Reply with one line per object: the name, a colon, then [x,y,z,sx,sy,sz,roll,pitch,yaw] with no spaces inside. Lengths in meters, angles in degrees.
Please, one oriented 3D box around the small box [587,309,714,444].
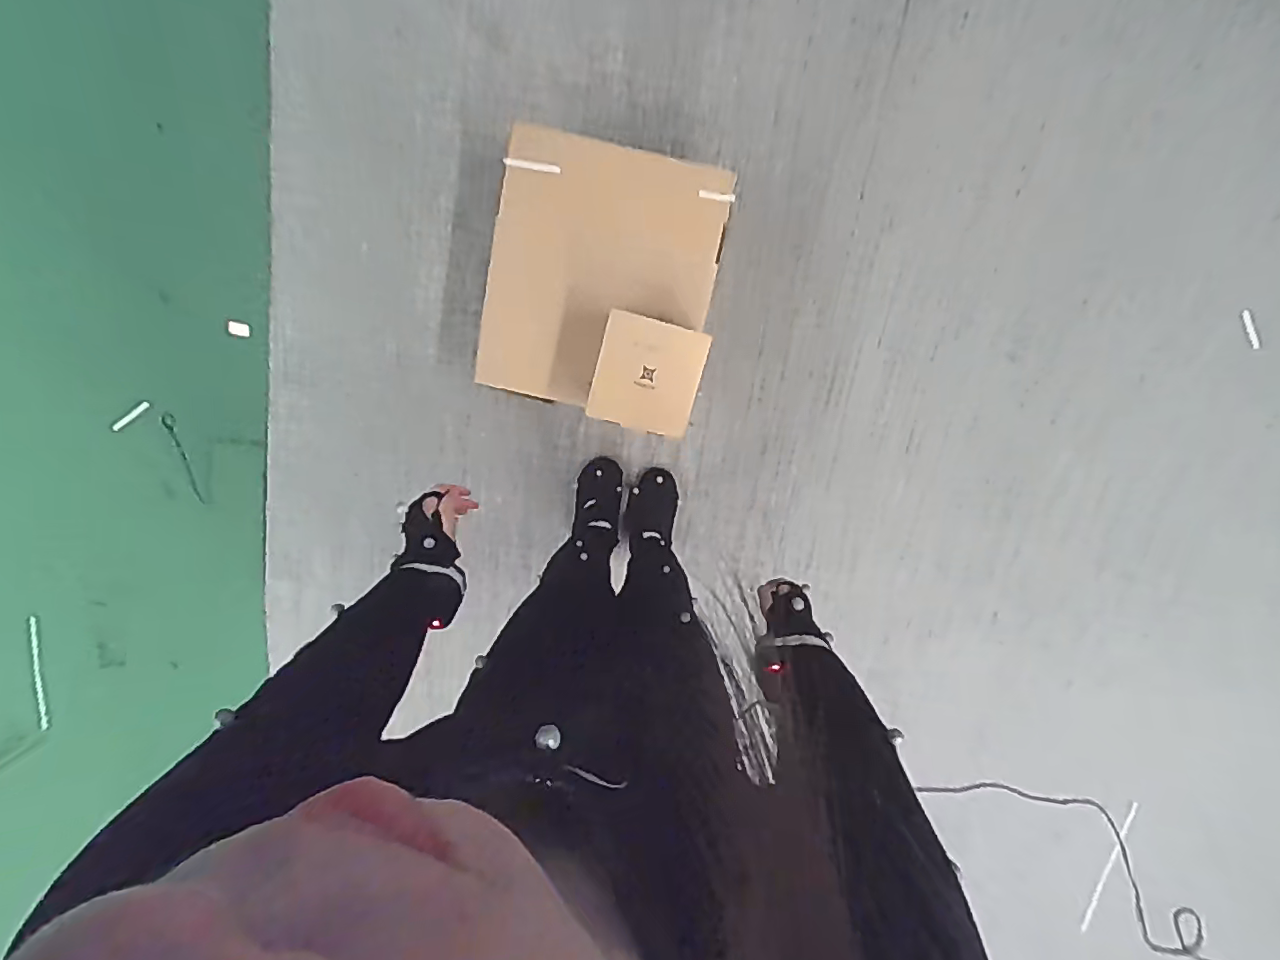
small box: [0.016,-0.177,0.929,0.168,0.176,0.179,16,102,-4]
